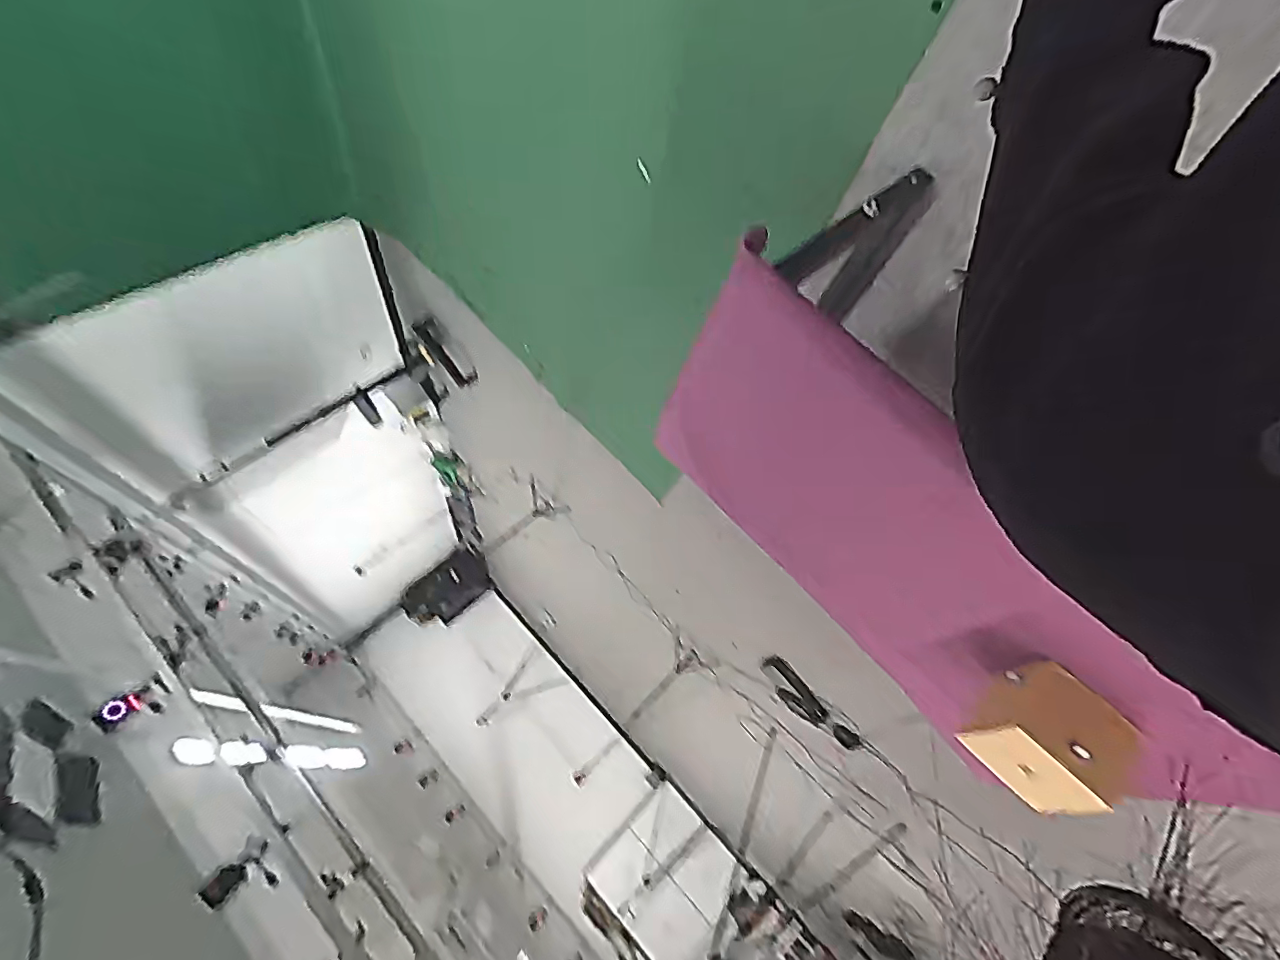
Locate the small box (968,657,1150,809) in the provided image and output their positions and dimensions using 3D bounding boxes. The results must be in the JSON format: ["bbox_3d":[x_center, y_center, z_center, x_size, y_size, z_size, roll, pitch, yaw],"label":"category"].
[{"bbox_3d":[0.750,0.451,0.971,0.179,0.176,0.168,43,152,15],"label":"small box"}]
